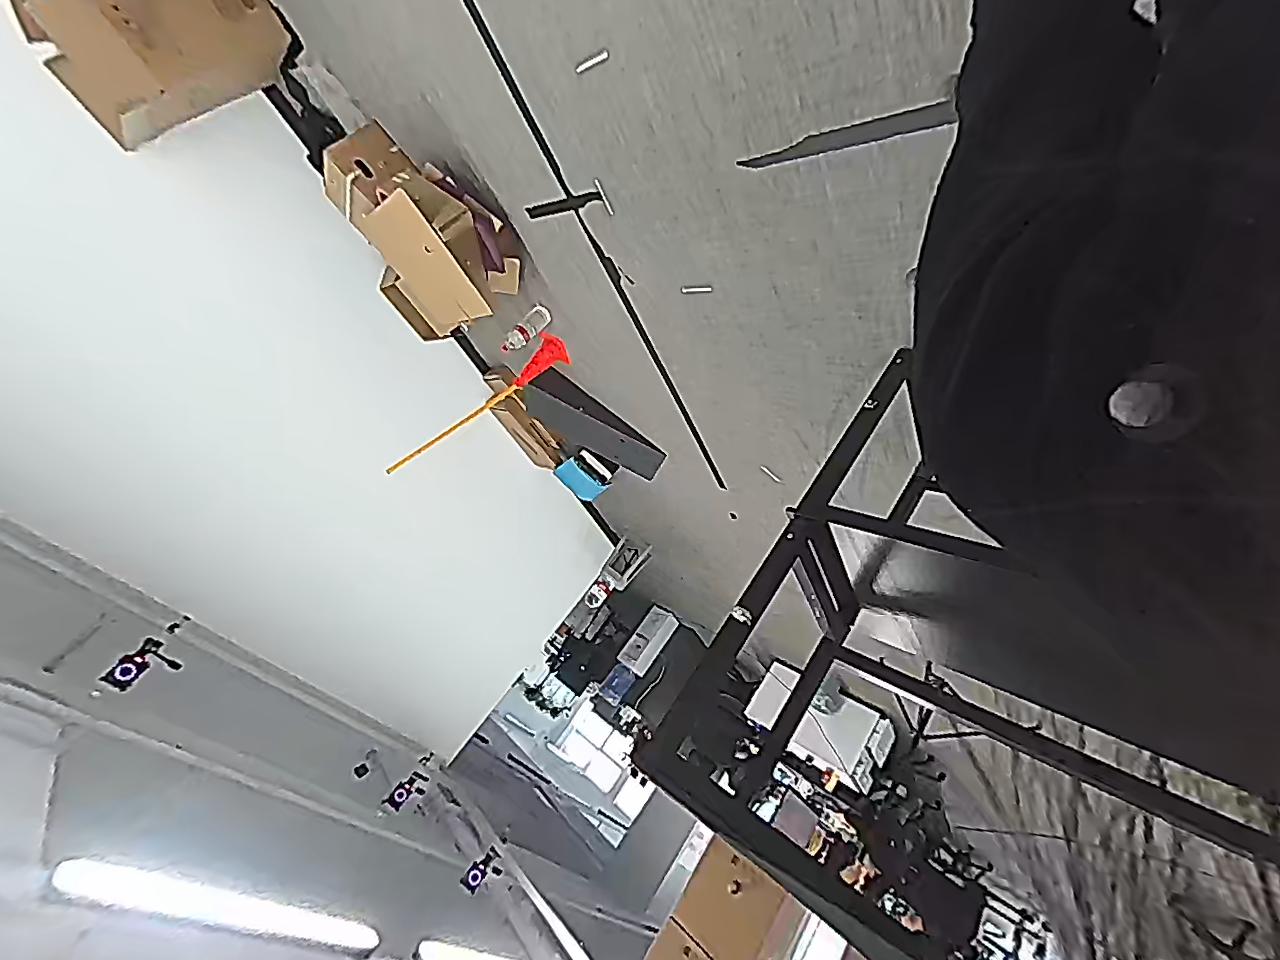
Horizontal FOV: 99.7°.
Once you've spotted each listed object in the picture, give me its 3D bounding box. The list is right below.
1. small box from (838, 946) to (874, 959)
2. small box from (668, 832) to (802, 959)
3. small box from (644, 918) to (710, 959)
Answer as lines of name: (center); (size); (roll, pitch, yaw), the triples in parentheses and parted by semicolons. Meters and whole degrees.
small box: (0.378, 0.878, 0.846); (0.168, 0.176, 0.179); (17, 152, 45)
small box: (0.190, 0.822, 1.039); (0.168, 0.176, 0.179); (16, 150, 43)
small box: (0.094, 0.942, 0.982); (0.168, 0.176, 0.179); (18, 150, 43)
